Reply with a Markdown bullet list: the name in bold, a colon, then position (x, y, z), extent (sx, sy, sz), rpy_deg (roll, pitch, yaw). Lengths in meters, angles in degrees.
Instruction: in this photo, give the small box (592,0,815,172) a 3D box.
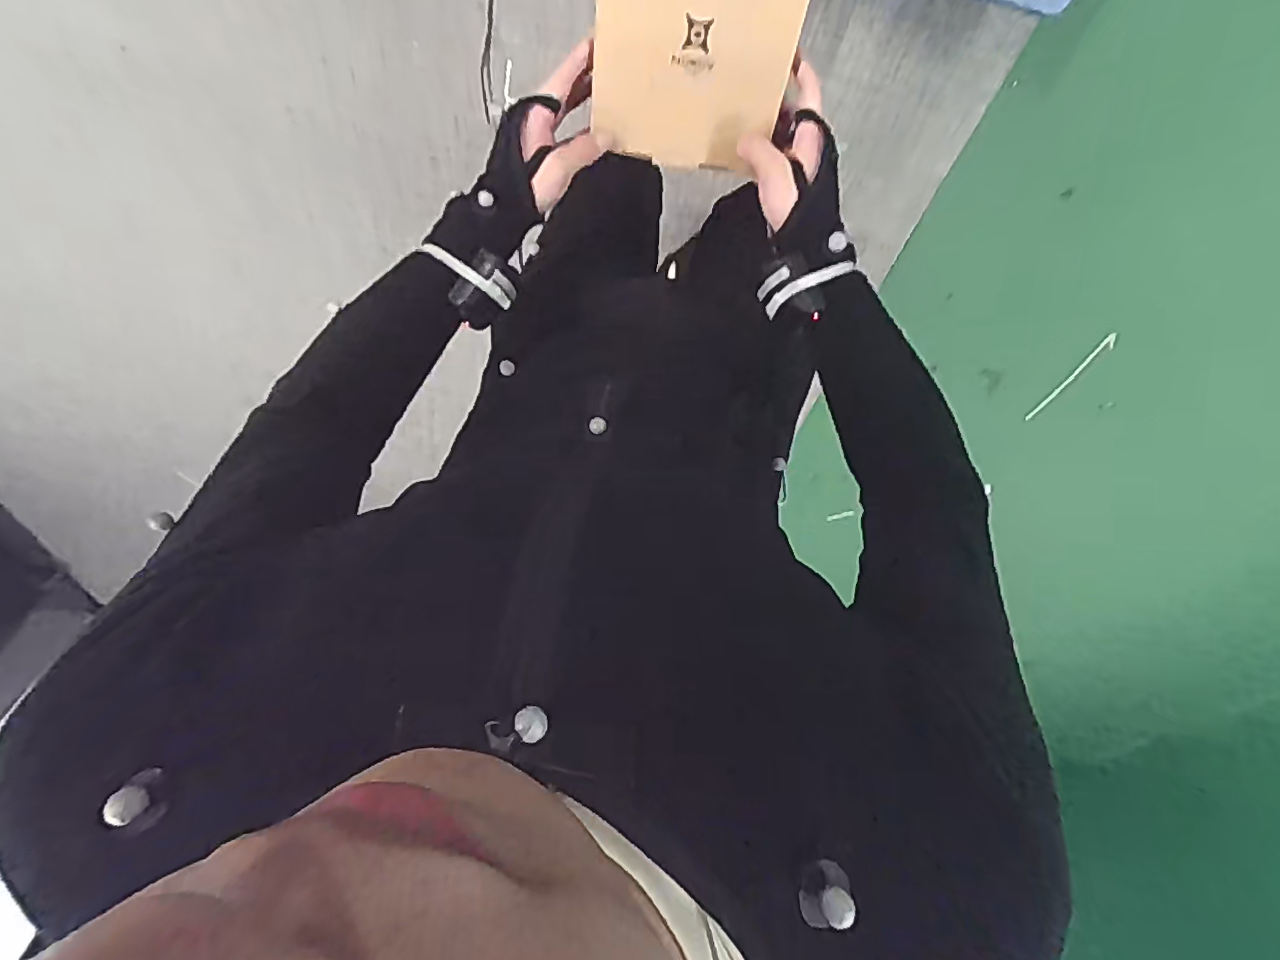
- **small box**: position (0.055, -0.418, 0.489), extent (0.168, 0.176, 0.179), rpy_deg (8, 140, -4)
